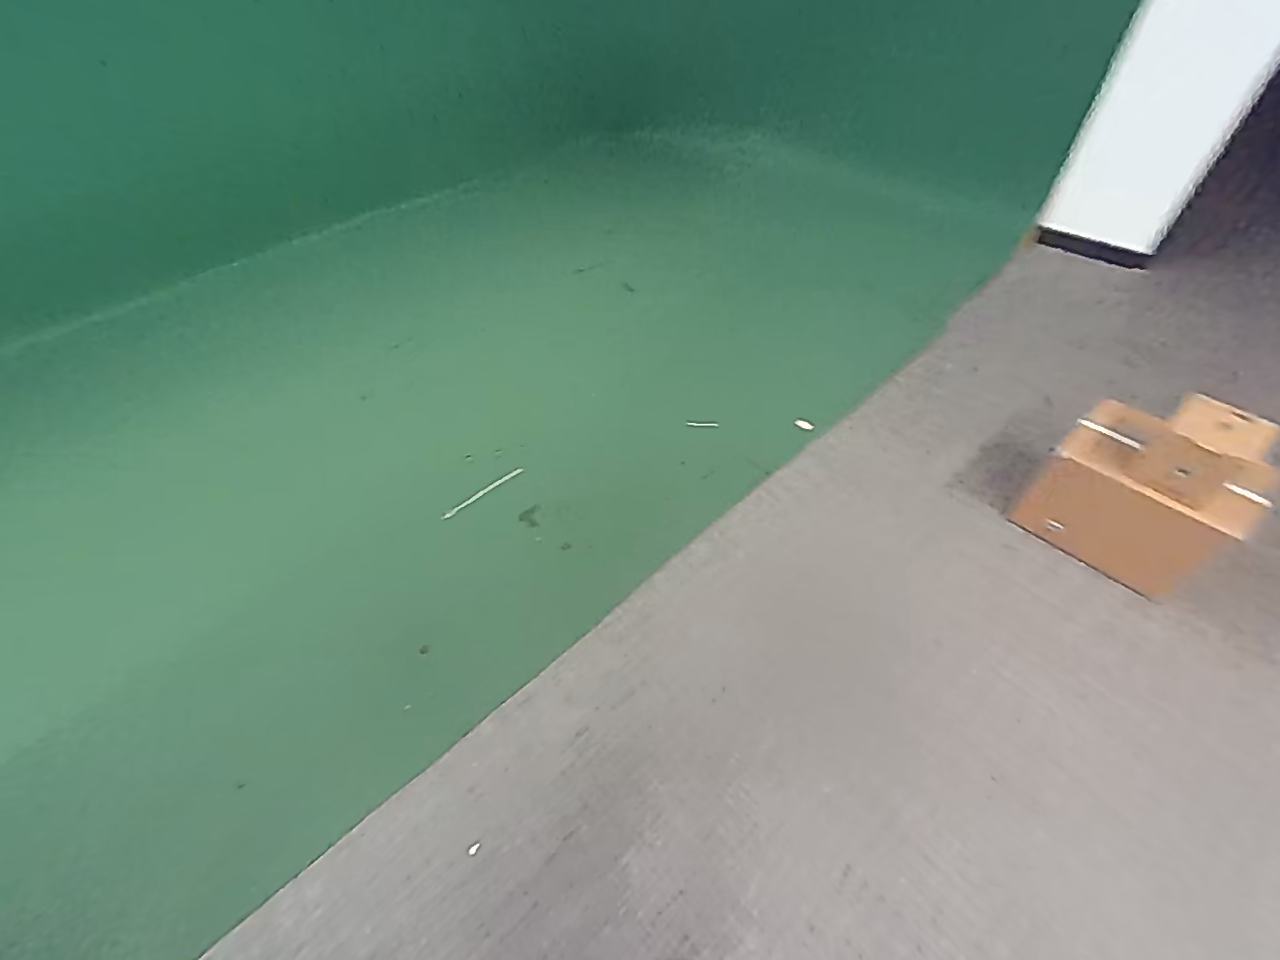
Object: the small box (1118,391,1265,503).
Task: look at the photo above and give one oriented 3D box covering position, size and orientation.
[{"bbox_3d":[1.318,-0.075,1.308,0.179,0.176,0.168,-35,56,-21],"label":"small box"}]
